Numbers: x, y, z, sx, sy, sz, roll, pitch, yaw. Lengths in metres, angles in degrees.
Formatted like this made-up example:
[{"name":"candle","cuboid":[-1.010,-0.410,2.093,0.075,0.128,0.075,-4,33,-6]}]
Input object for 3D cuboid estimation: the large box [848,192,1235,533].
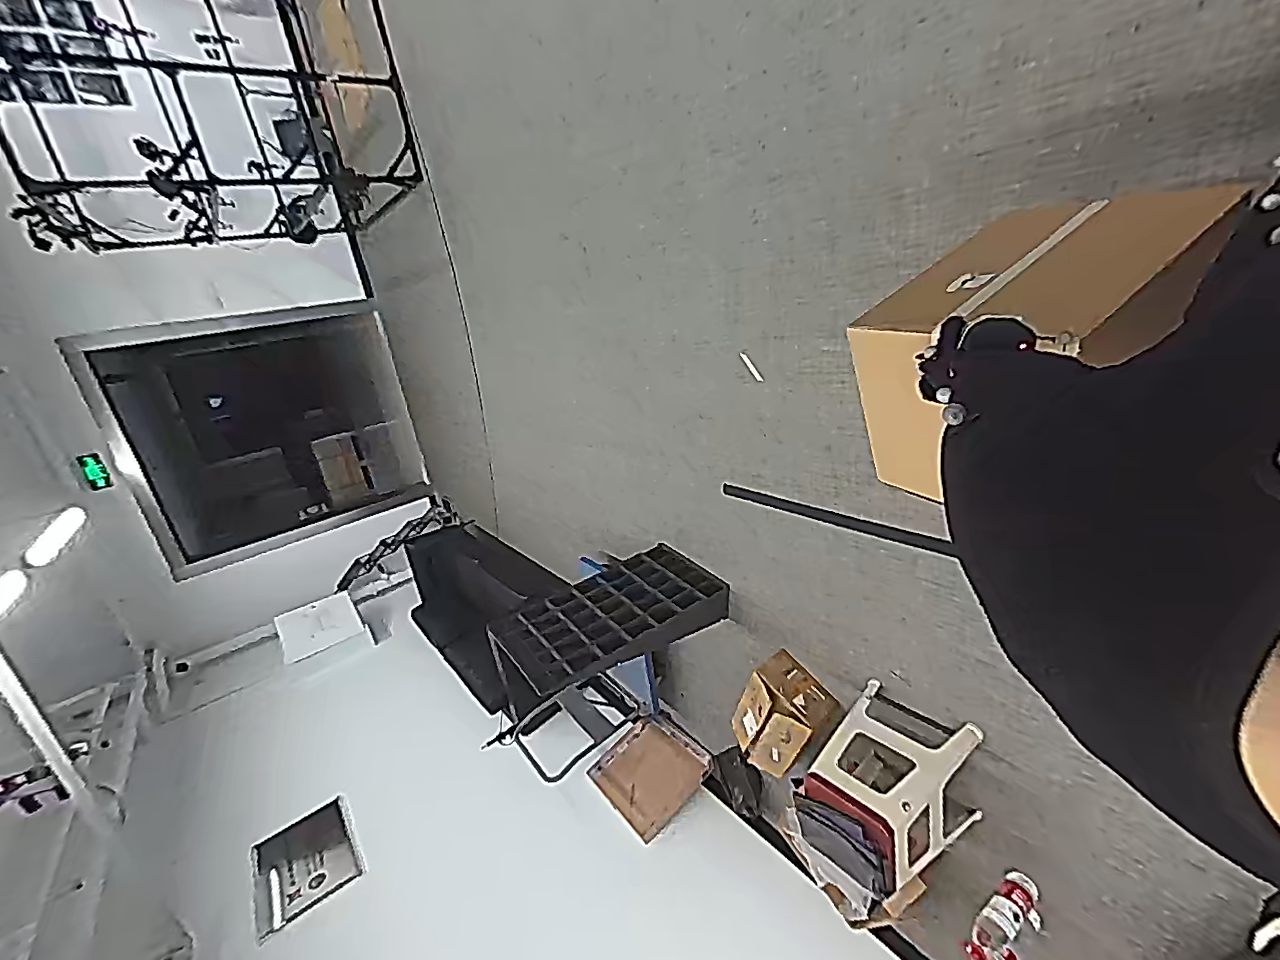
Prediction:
[{"name":"large box","cuboid":[0.608,-0.193,0.849,0.320,0.408,0.320,31,153,56]}]
